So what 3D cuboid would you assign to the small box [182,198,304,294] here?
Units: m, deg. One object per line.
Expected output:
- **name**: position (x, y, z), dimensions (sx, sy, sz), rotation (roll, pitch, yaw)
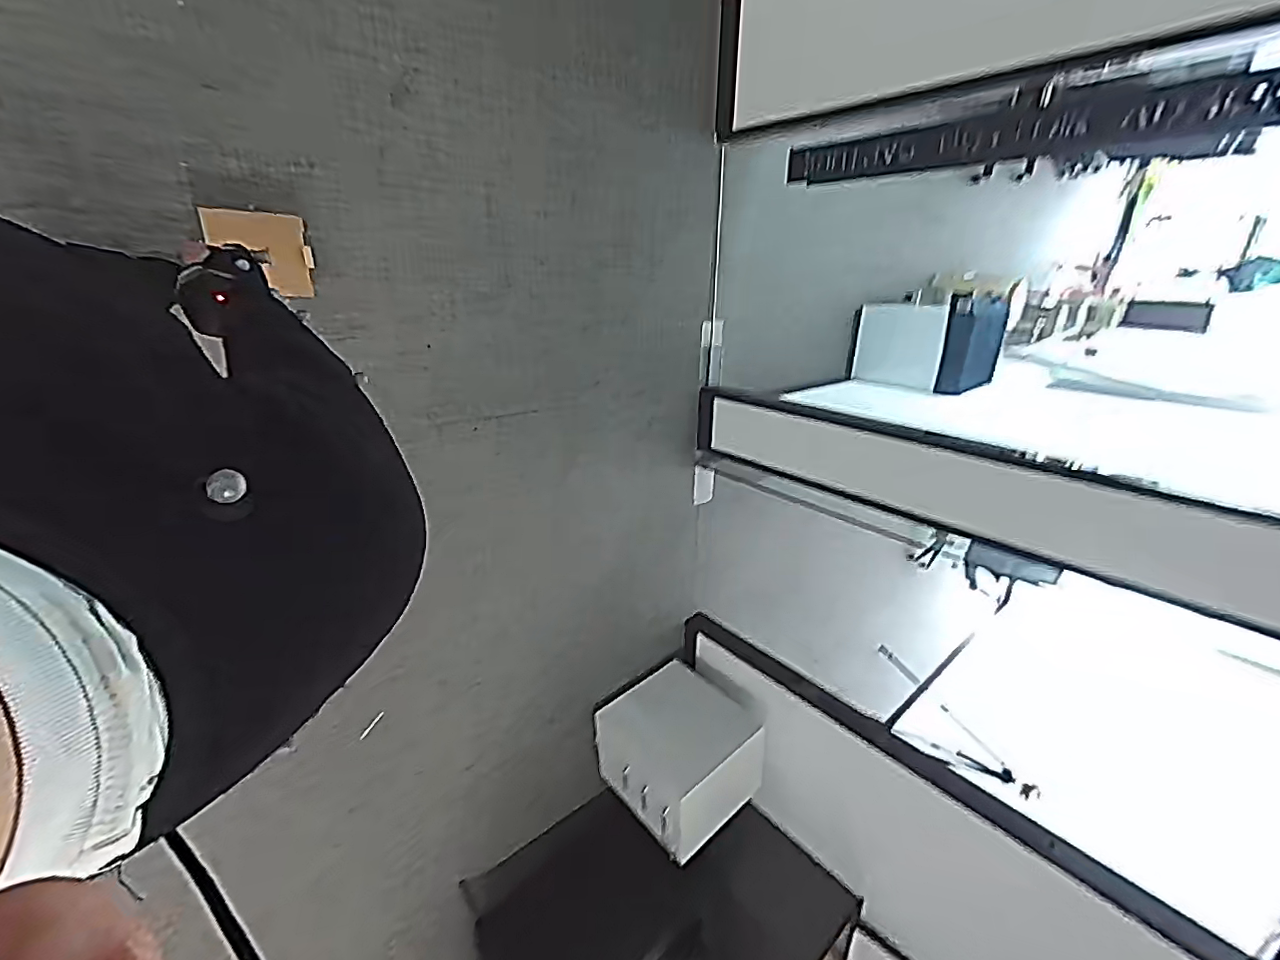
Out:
- **small box**: position (-0.845, -0.491, 1.152), dimensions (0.179, 0.176, 0.168), rotation (-13, 114, -40)
